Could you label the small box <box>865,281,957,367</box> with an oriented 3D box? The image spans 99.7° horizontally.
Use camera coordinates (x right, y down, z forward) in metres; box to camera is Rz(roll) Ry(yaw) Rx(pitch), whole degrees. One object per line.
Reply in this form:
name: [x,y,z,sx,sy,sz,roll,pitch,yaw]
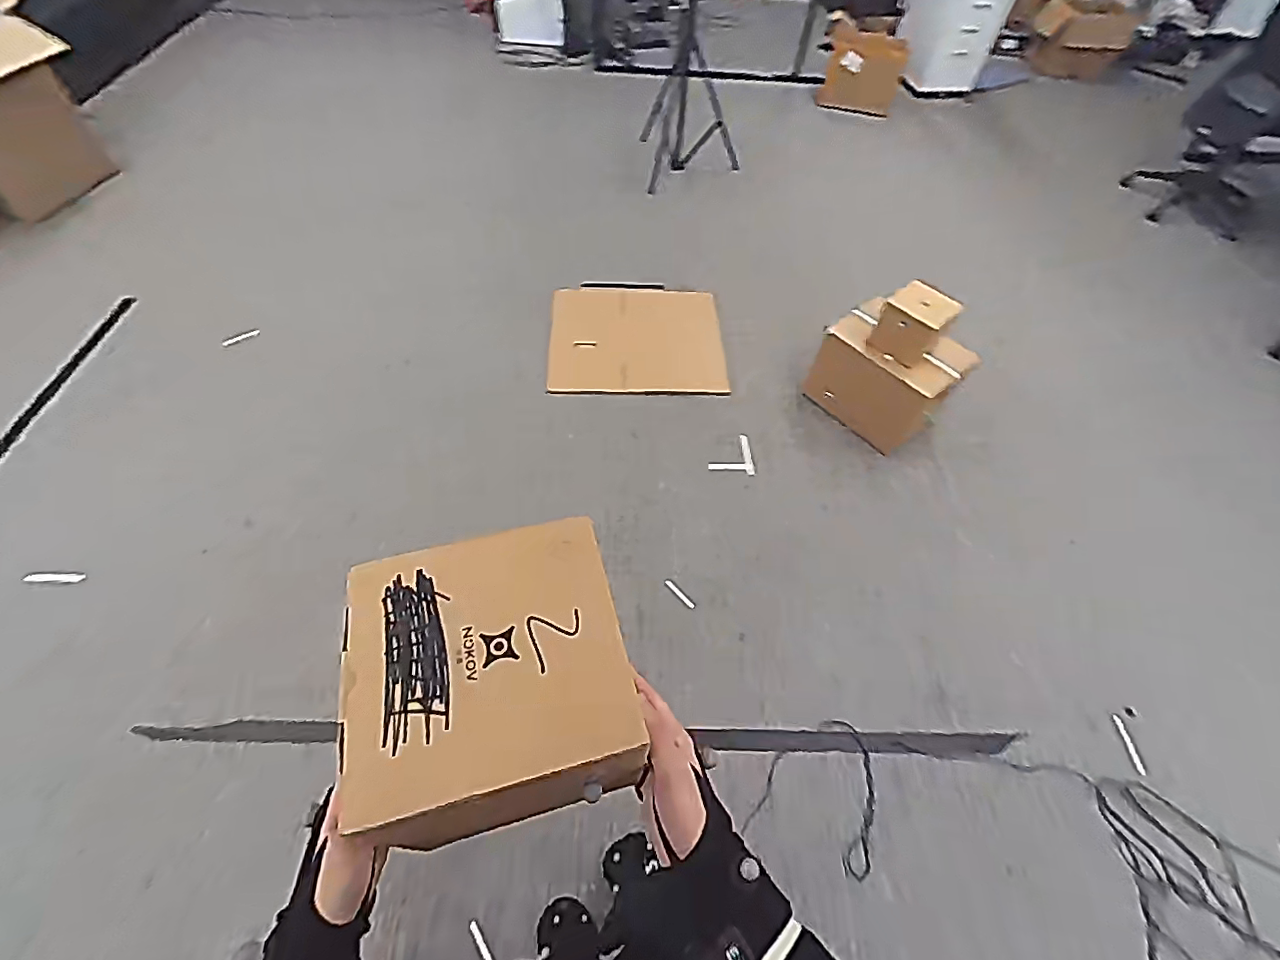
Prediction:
small box: [0.858,-0.496,1.730,0.168,0.176,0.179,-37,66,-24]
